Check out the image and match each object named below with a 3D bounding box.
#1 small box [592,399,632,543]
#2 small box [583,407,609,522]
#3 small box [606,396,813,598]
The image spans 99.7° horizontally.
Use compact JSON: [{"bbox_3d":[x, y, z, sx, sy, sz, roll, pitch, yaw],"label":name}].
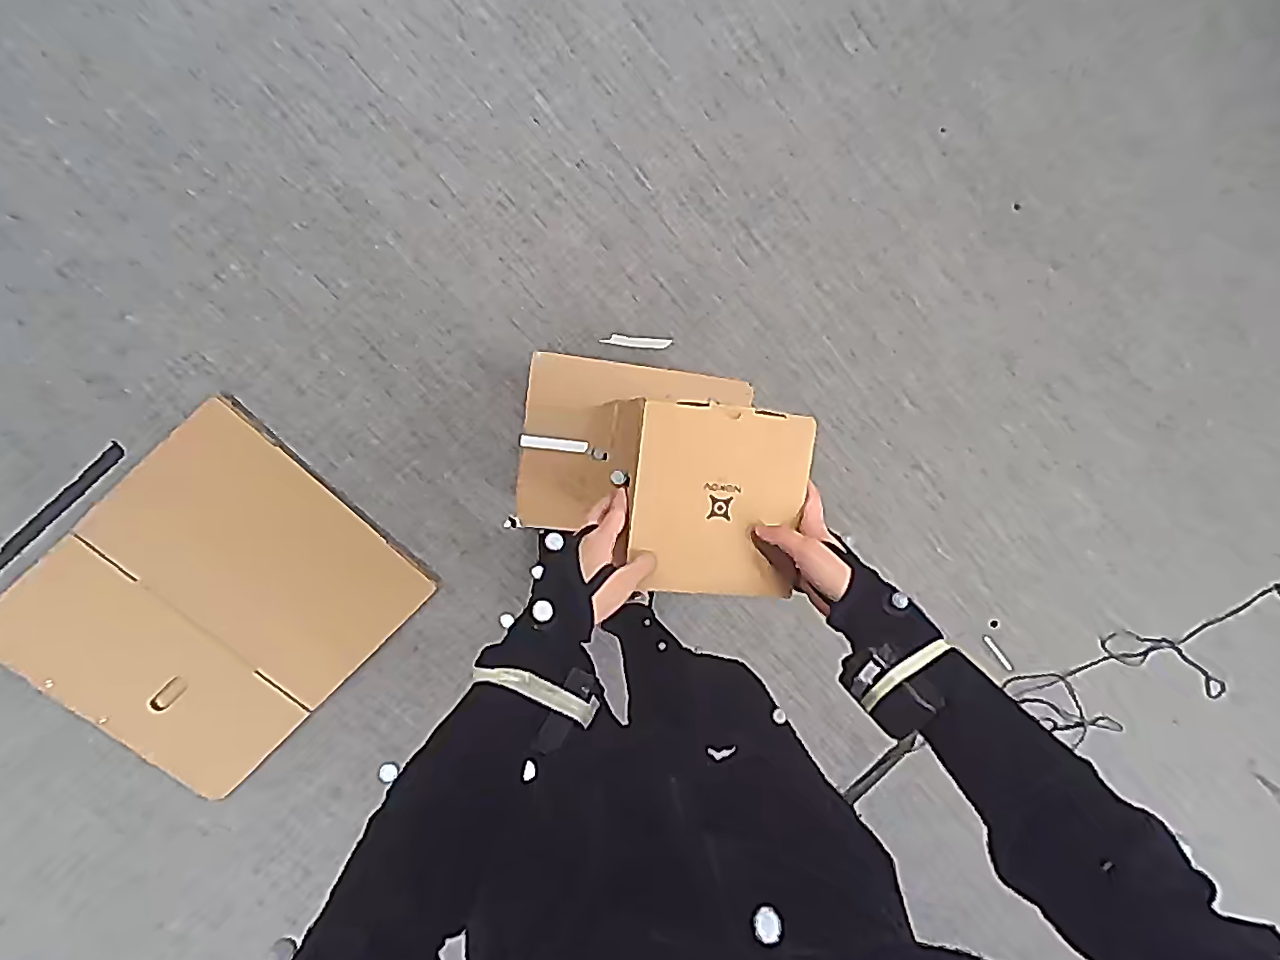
[{"bbox_3d":[0.028,-0.009,0.732,0.168,0.176,0.179,5,94,-10],"label":"small box"},{"bbox_3d":[-0.001,-0.023,0.893,0.168,0.176,0.179,6,96,-10],"label":"small box"},{"bbox_3d":[0.058,0.011,0.572,0.168,0.176,0.179,5,95,-10],"label":"small box"}]
